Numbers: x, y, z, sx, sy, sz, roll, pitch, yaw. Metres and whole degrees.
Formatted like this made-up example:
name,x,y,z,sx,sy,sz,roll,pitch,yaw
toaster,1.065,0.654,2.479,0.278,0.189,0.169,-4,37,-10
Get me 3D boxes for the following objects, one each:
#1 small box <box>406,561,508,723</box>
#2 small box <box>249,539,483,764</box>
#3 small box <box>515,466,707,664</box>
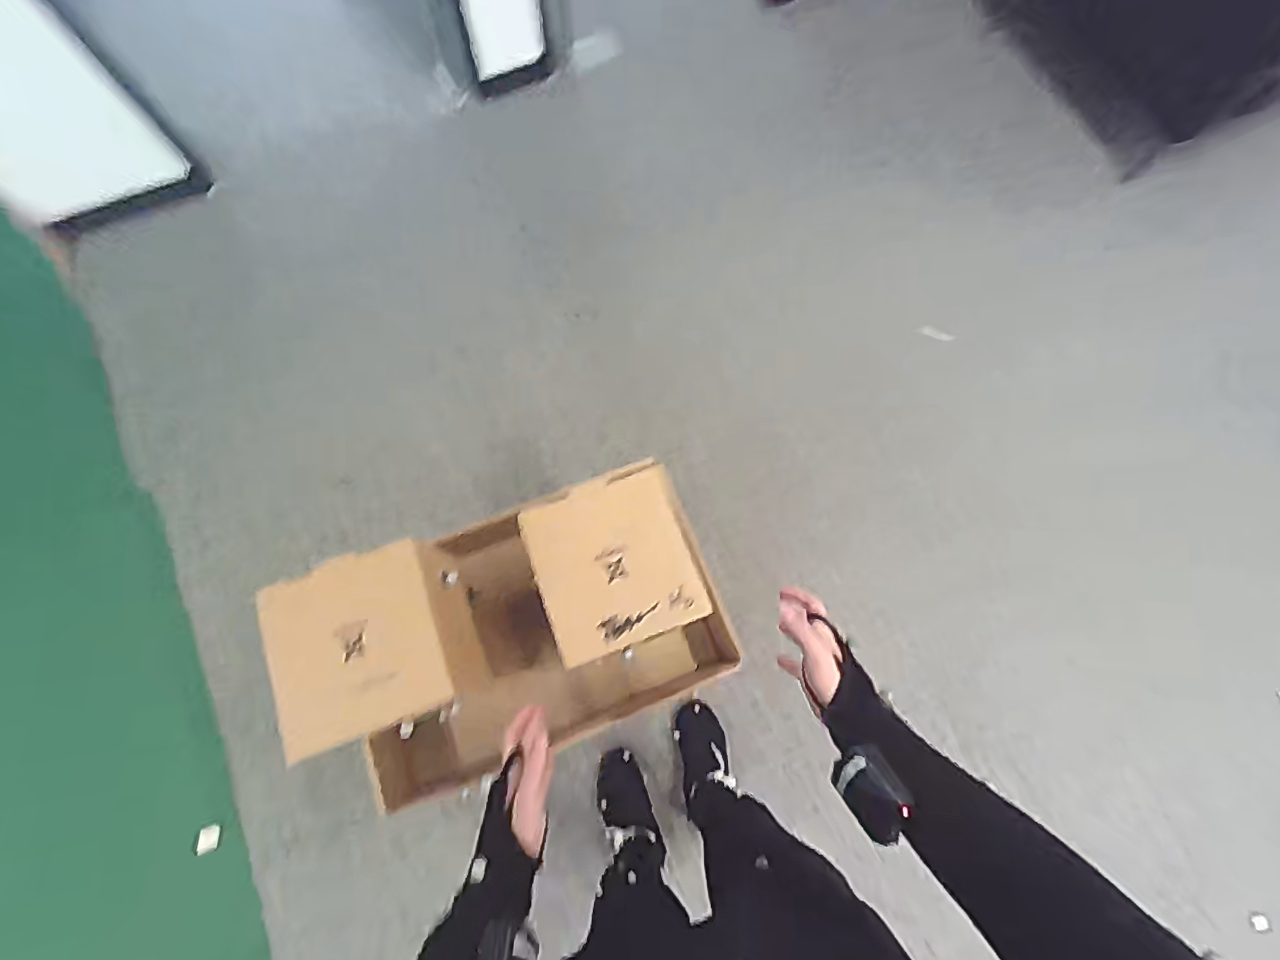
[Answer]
name,x,y,z,sx,sy,sz,roll,pitch,yaw
small box,-0.304,0.237,0.771,0.168,0.176,0.179,-21,75,-8
small box,-0.297,0.189,0.616,0.168,0.176,0.179,-20,75,-7
small box,-0.038,0.109,0.652,0.168,0.176,0.179,-19,75,-8
